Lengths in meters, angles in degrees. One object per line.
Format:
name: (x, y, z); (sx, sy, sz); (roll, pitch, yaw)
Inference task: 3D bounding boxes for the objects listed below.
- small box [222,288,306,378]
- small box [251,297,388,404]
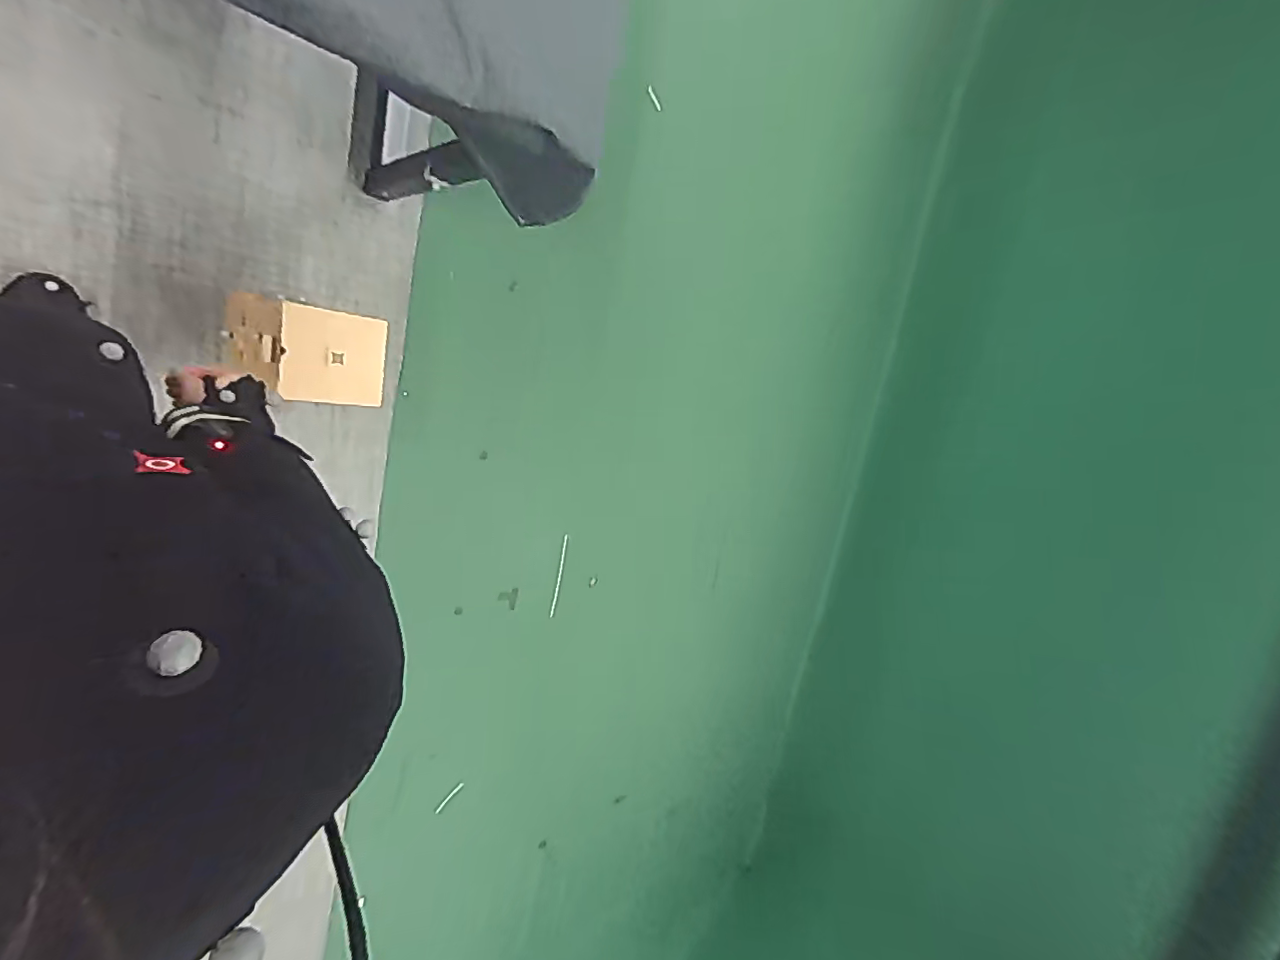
small box: (-0.733, -0.286, 1.108); (0.179, 0.176, 0.168); (0, 103, -48)
small box: (-0.603, -0.243, 1.015); (0.179, 0.176, 0.168); (-2, 106, -47)
